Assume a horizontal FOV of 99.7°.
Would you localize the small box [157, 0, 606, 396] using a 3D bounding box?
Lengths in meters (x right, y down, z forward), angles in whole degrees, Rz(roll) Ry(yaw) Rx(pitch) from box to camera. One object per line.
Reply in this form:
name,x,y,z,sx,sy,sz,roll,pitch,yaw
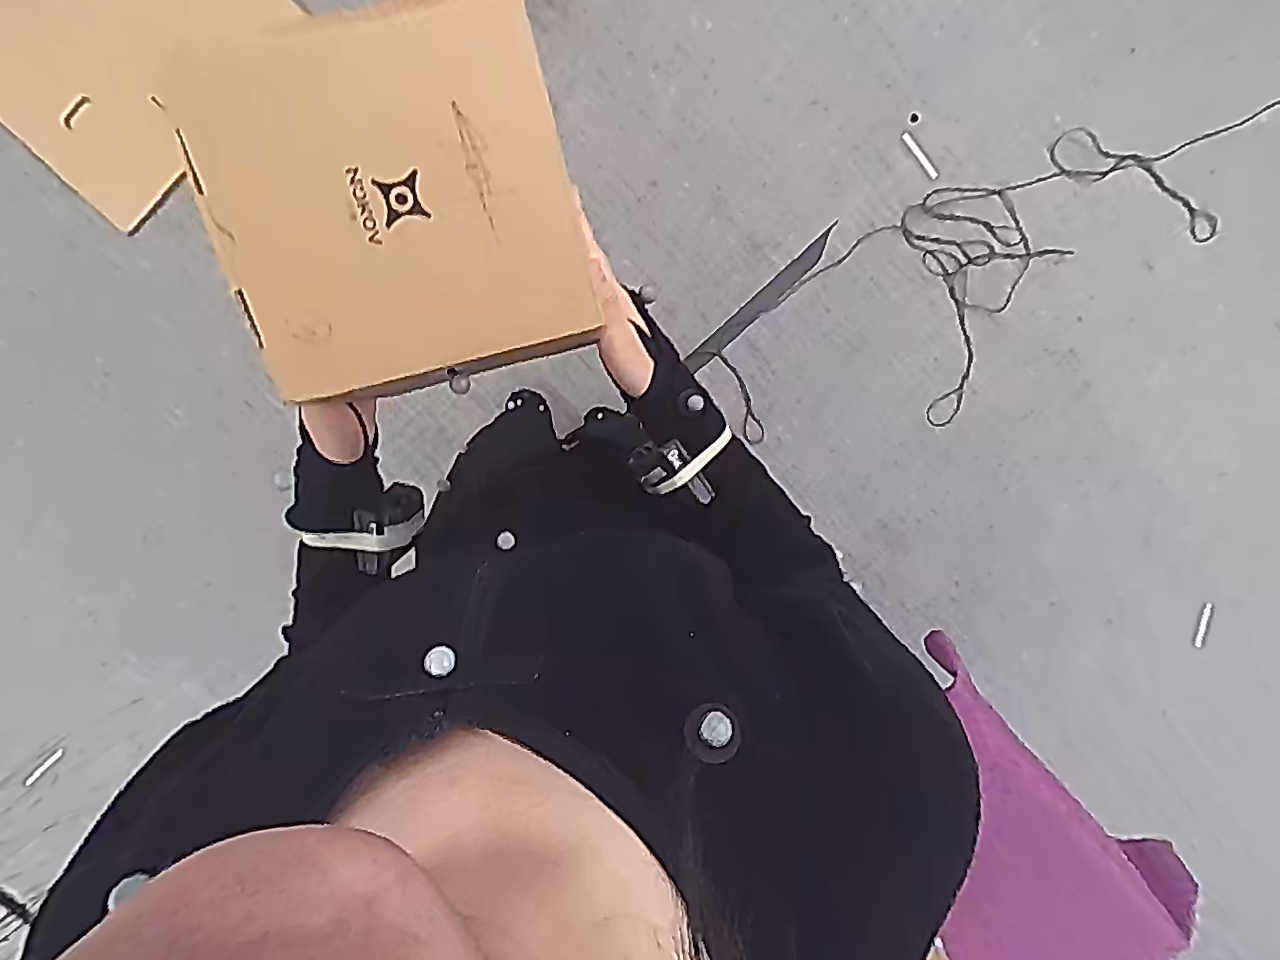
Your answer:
small box,-0.127,-0.154,0.344,0.179,0.176,0.168,-16,103,-3
